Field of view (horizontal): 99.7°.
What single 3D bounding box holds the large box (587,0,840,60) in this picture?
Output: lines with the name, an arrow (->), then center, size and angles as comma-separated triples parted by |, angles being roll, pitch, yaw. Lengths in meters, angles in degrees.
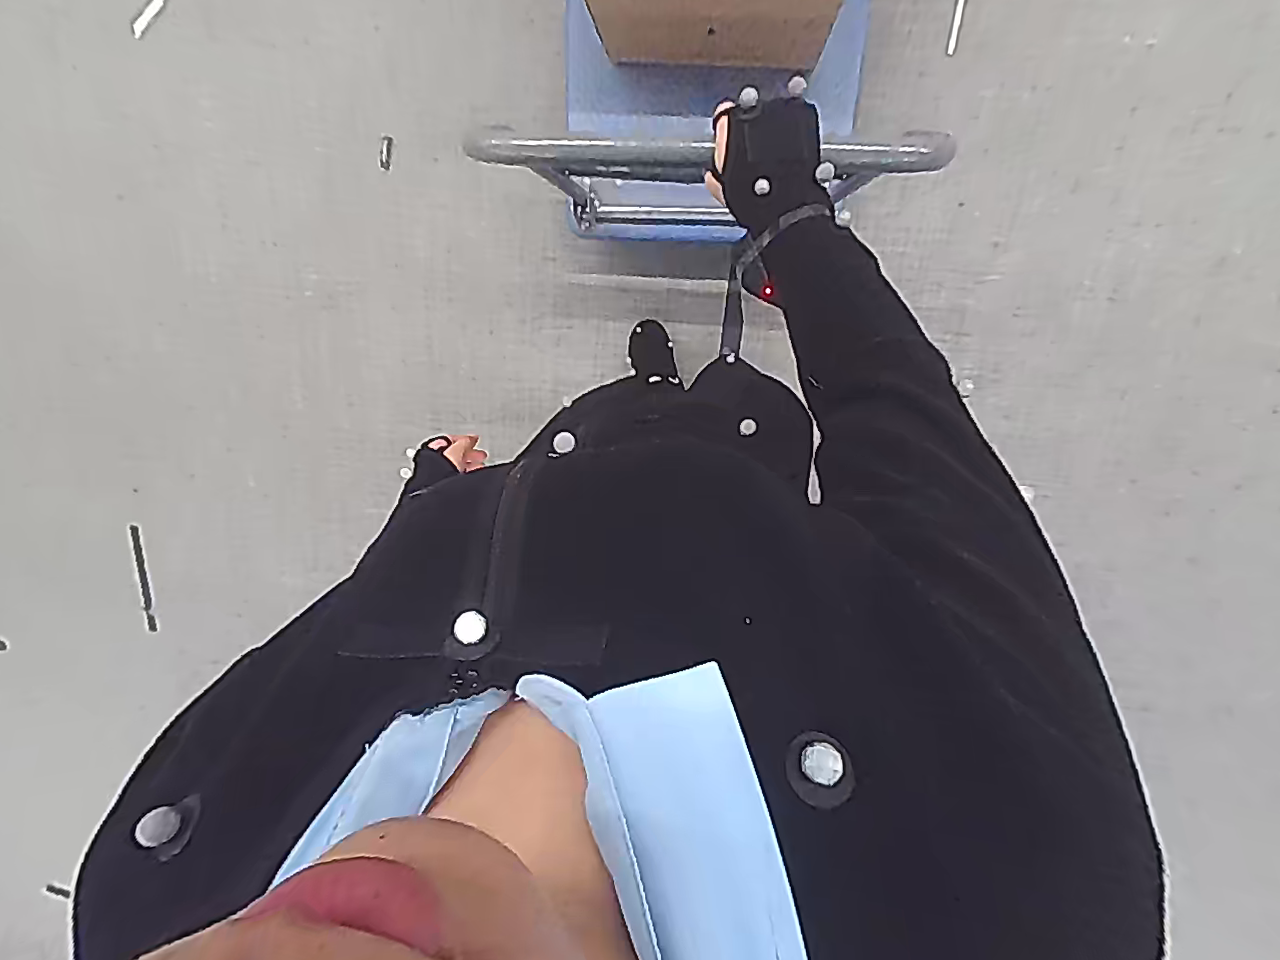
large box -> 0.128, -0.913, 0.860 | 0.408, 0.320, 0.320 | 6, 106, 7
